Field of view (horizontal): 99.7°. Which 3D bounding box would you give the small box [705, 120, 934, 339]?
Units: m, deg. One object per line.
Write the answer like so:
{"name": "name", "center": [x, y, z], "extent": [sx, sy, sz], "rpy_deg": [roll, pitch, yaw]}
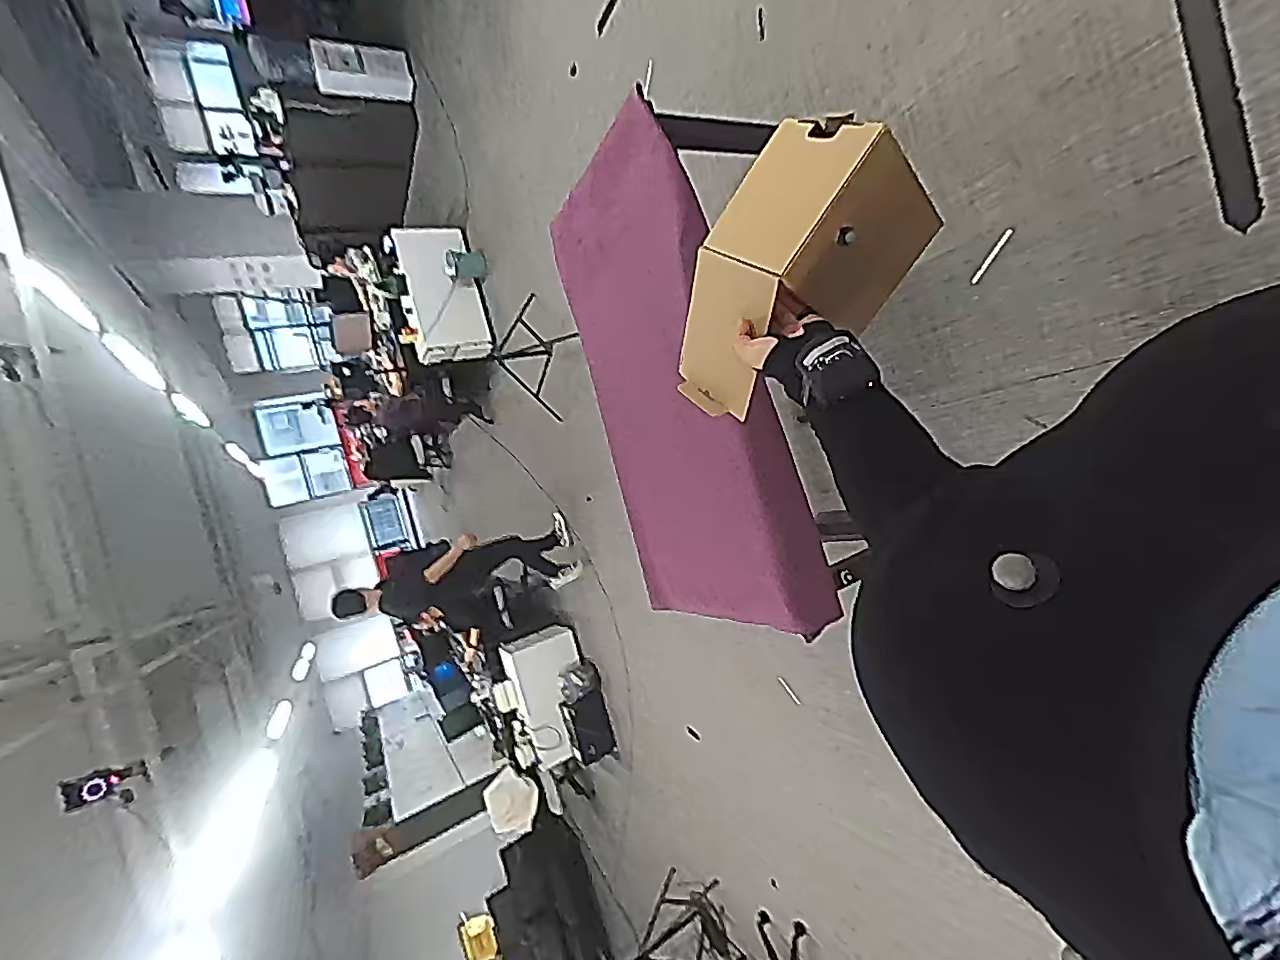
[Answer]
{"name": "small box", "center": [0.222, -0.304, 0.670], "extent": [0.179, 0.176, 0.168], "rpy_deg": [-55, 41, 14]}
